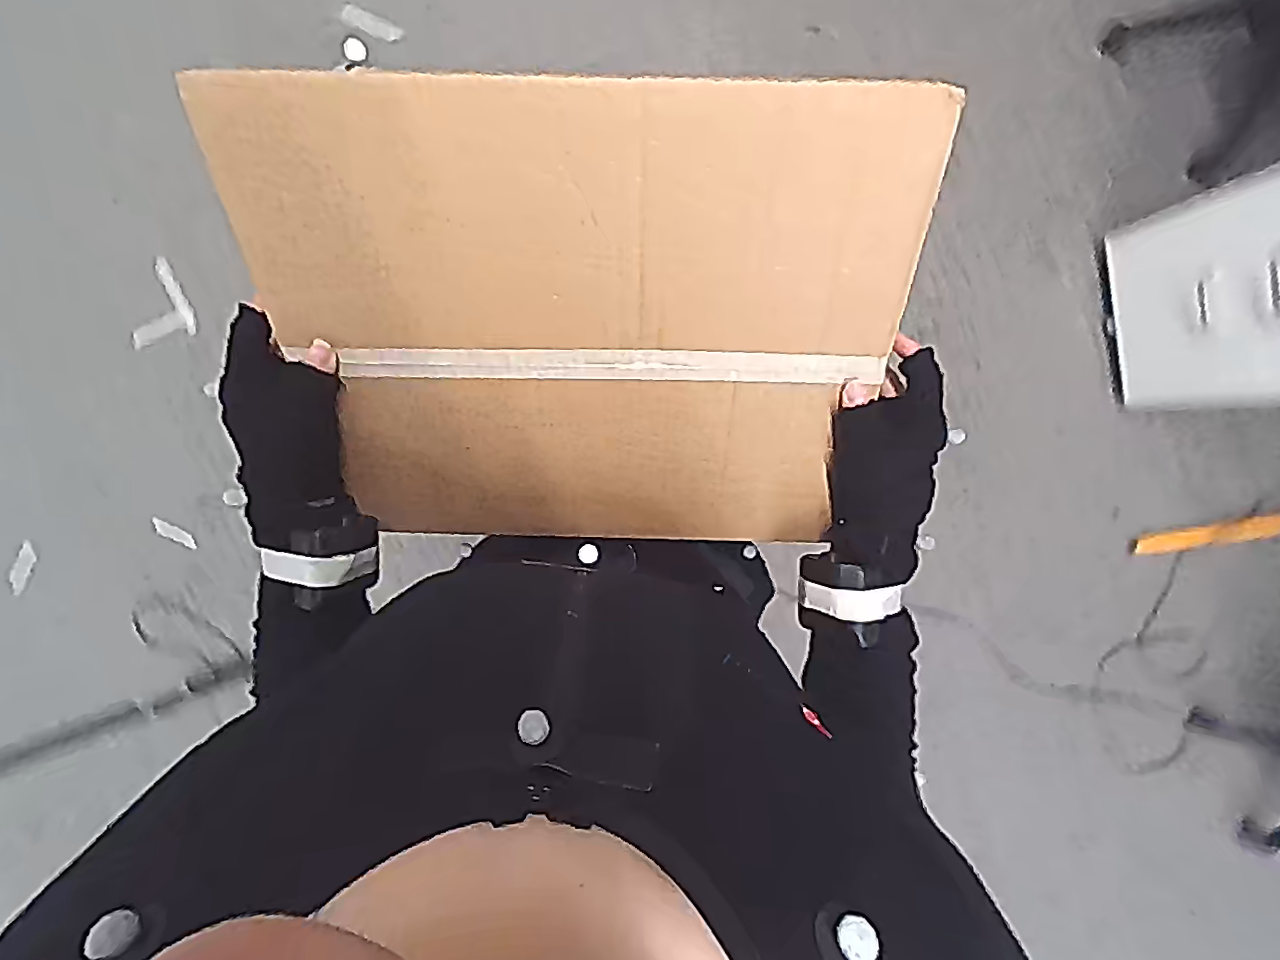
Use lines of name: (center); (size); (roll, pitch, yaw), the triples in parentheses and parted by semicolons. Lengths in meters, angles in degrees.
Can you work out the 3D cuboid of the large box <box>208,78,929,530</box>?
large box: (-0.040, -0.170, 0.499); (0.408, 0.320, 0.320); (0, 127, 1)
